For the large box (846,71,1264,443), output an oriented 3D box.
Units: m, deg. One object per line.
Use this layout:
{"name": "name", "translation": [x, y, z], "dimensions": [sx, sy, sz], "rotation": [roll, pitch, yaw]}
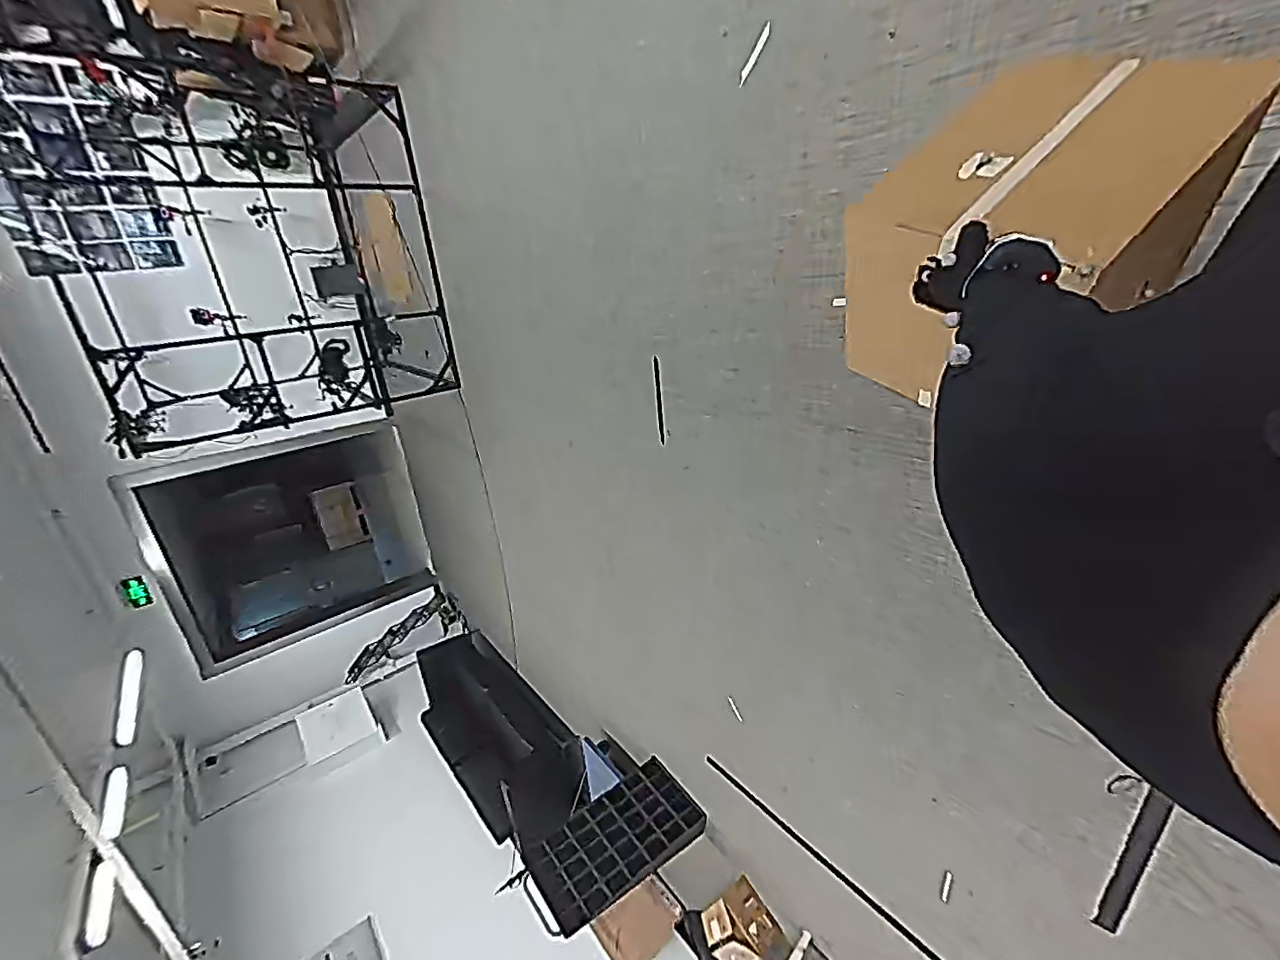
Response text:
{"name": "large box", "translation": [0.572, -0.340, 0.826], "dimensions": [0.320, 0.408, 0.320], "rotation": [40, 168, 38]}
